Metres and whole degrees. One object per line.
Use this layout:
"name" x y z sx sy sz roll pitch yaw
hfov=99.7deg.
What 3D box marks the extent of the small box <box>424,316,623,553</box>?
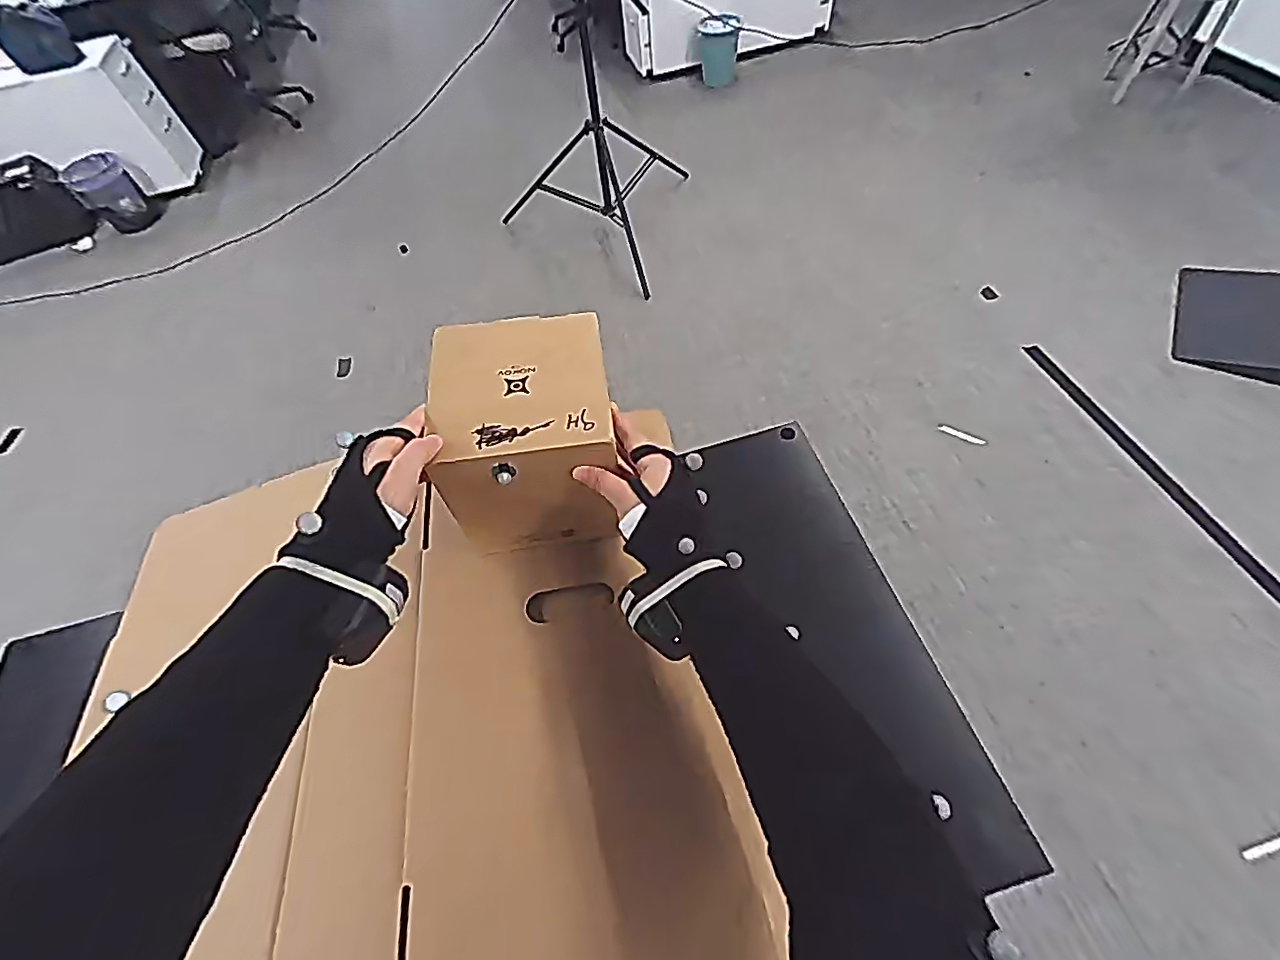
"small box" -0.110 -0.045 0.571 0.168 0.176 0.179 -8 55 -3
